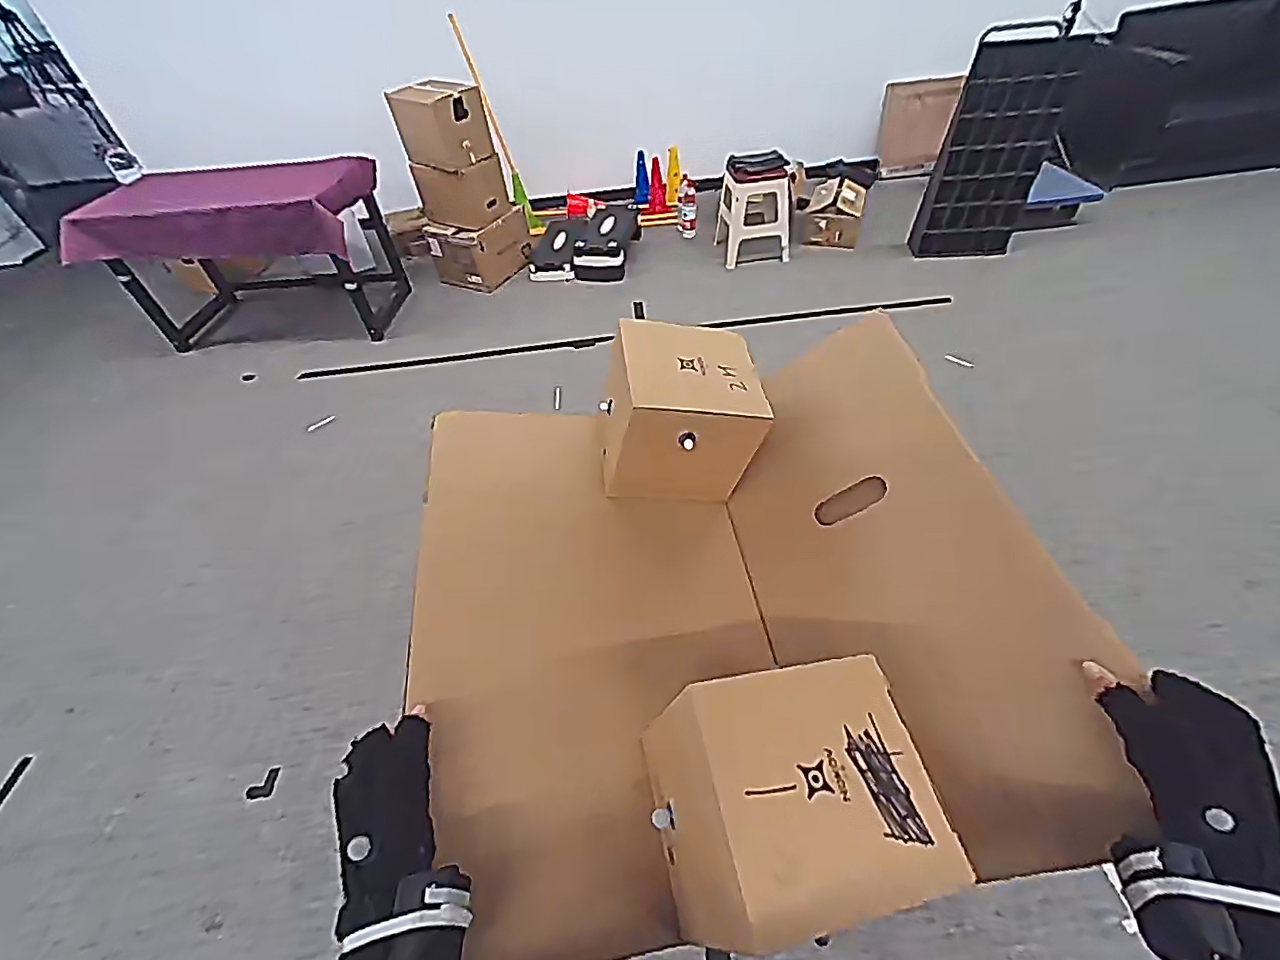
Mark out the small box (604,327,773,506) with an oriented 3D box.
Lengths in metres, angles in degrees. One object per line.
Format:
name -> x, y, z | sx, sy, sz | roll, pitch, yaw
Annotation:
small box -> 0.049, -0.079, 0.725 | 0.179, 0.176, 0.168 | 4, 51, -14
